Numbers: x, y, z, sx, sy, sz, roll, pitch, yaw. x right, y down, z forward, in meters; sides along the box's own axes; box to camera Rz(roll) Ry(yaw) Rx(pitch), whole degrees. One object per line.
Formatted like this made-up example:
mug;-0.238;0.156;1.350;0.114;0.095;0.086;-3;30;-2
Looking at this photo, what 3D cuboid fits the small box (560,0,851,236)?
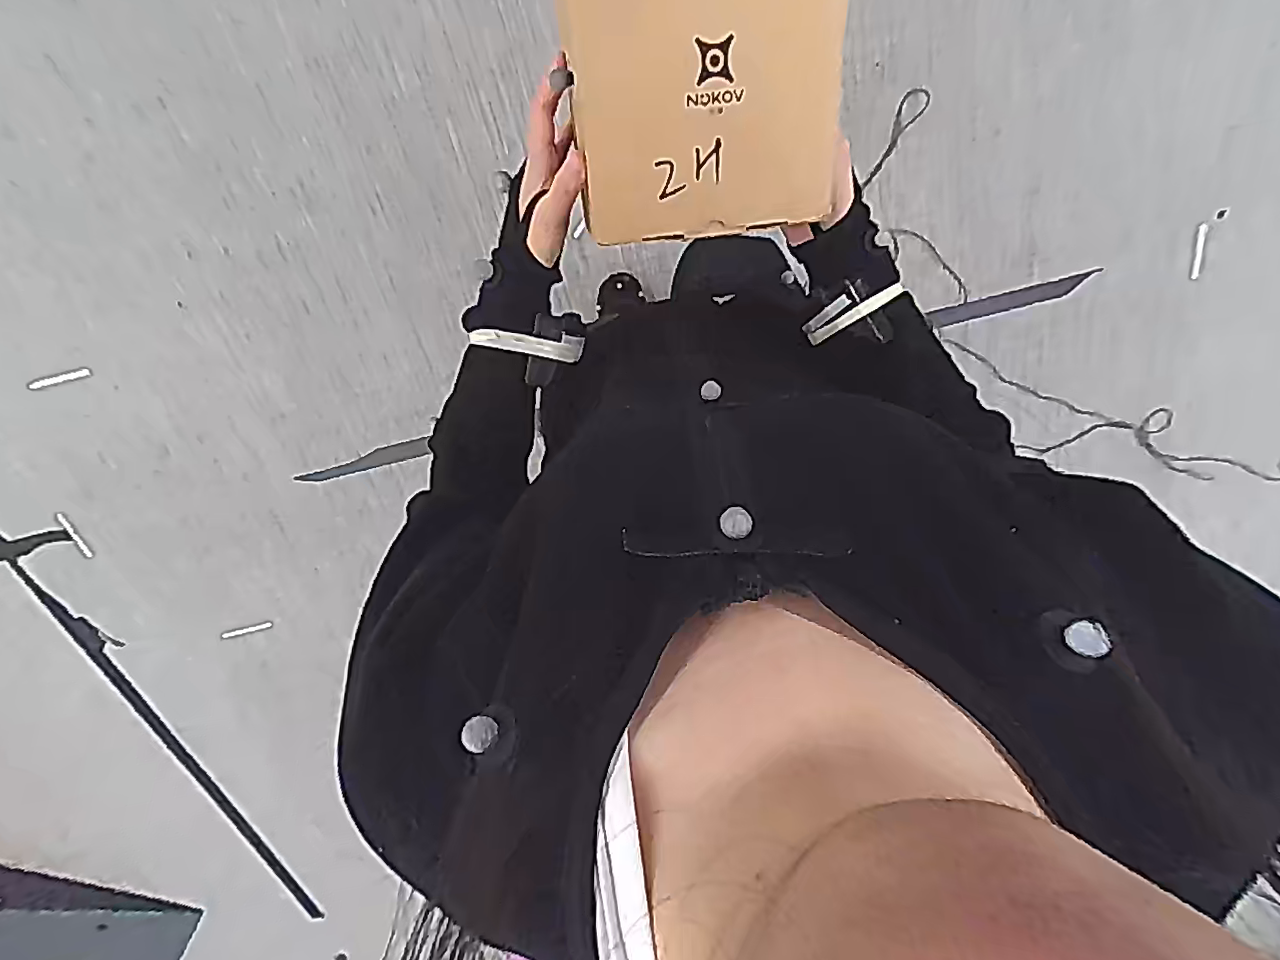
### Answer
small box;0.035;-0.287;0.396;0.168;0.176;0.179;-8;121;-4
